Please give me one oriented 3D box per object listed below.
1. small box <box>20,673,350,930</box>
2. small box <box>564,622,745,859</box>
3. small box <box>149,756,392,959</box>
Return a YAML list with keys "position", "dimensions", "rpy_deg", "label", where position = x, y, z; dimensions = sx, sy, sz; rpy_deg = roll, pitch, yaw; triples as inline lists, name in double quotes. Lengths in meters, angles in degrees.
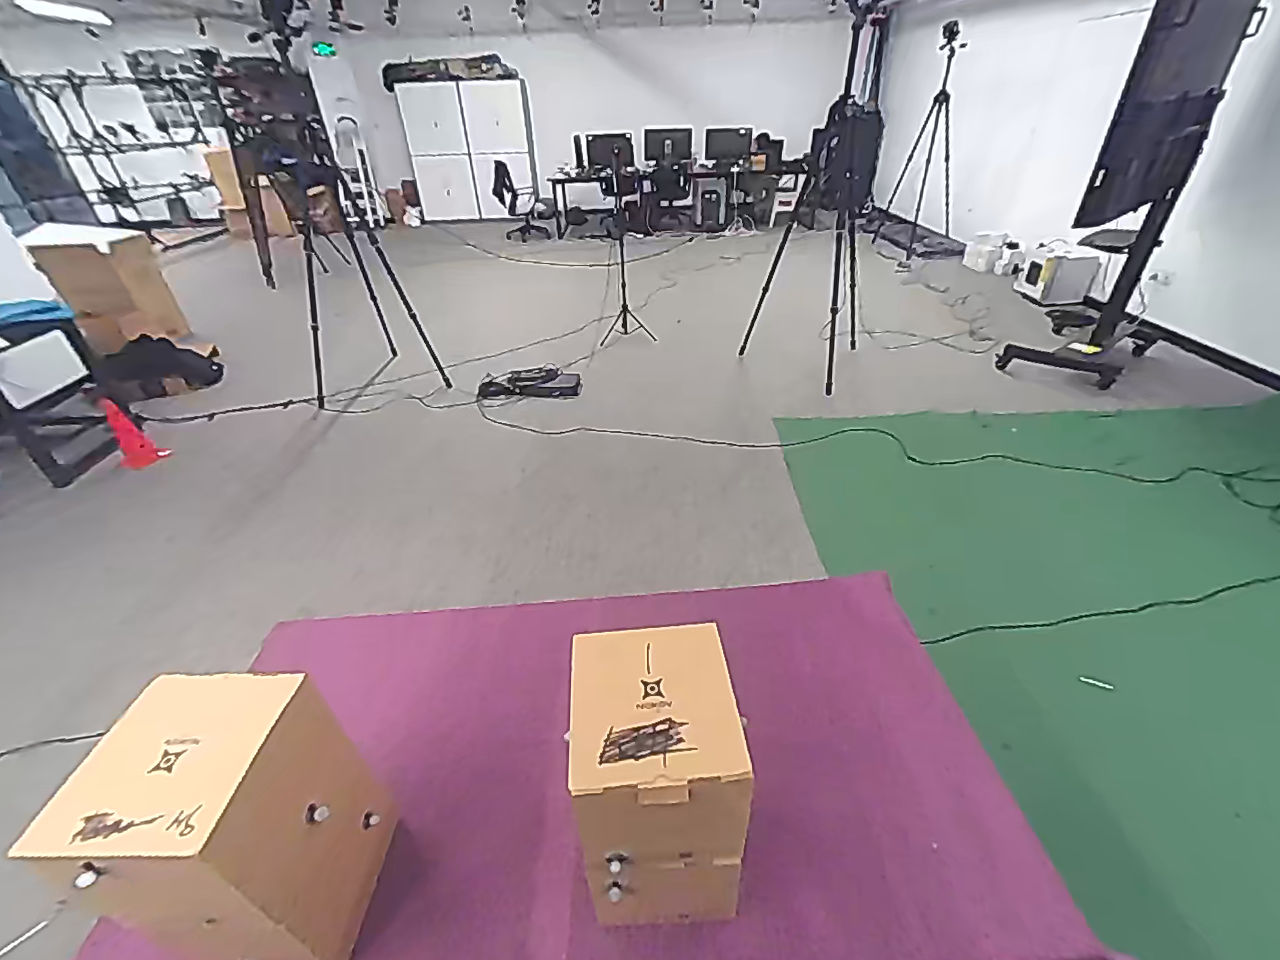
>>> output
- position: [-0.434, 0.327, 0.561]
  dimensions: [0.168, 0.176, 0.179]
  rpy_deg: [-3, 34, 3]
  label: "small box"
- position: [0.013, 0.284, 0.590]
  dimensions: [0.168, 0.176, 0.179]
  rpy_deg: [-5, 33, -2]
  label: "small box"
- position: [-0.426, 0.462, 0.656]
  dimensions: [0.168, 0.176, 0.179]
  rpy_deg: [-2, 35, 3]
  label: "small box"
